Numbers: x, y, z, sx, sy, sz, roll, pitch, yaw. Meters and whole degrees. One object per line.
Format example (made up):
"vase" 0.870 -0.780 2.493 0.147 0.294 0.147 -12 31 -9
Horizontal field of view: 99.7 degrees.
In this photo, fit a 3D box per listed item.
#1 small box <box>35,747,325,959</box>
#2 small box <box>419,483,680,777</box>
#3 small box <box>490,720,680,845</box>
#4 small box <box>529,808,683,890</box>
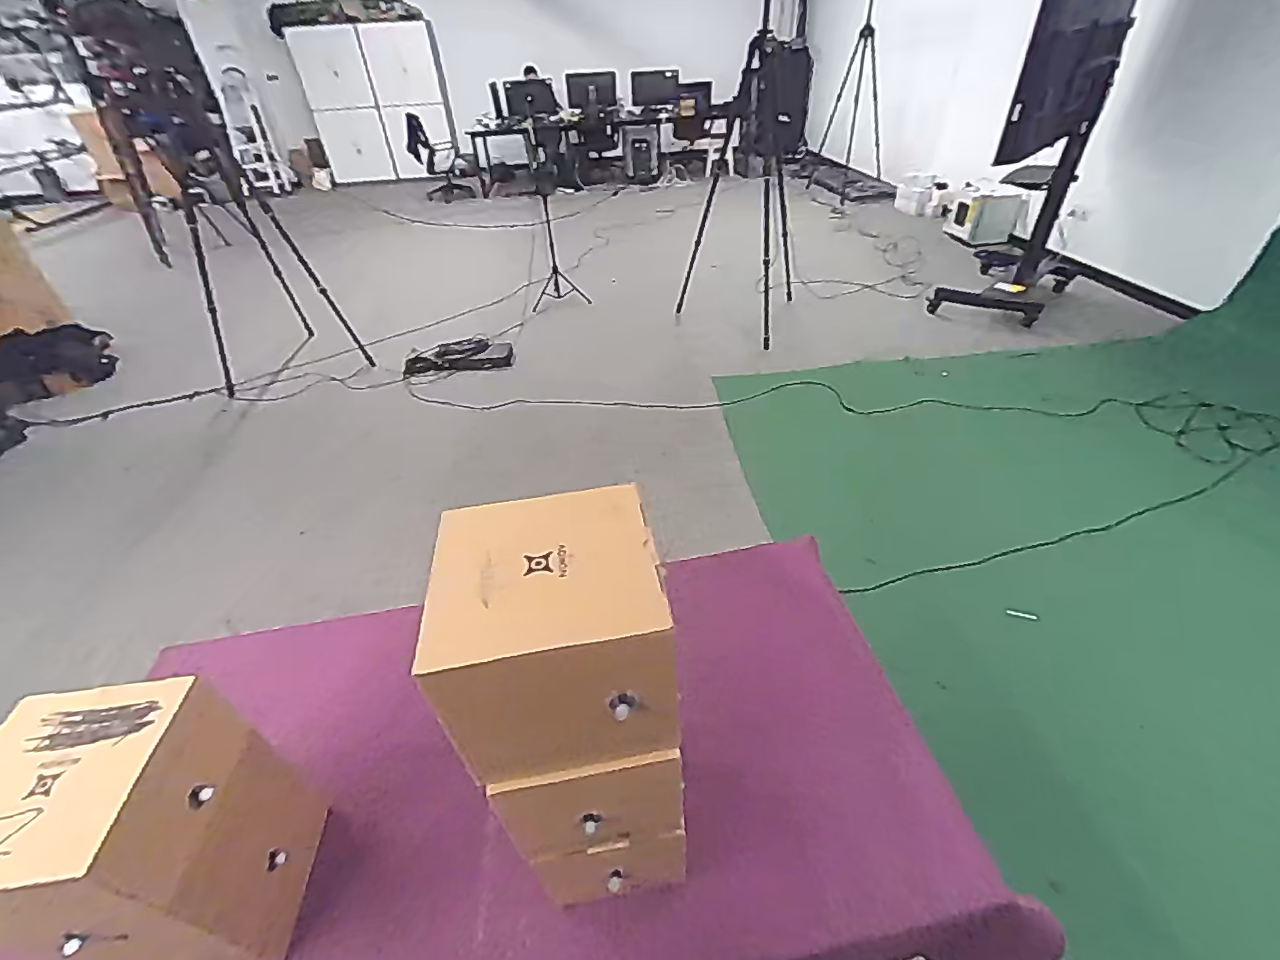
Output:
"small box" -0.502 0.446 0.632 0.168 0.176 0.179 -7 41 -4
"small box" -0.066 0.127 0.469 0.179 0.176 0.168 -9 38 -5
"small box" -0.053 0.256 0.569 0.168 0.176 0.179 -8 39 -5
"small box" -0.041 0.383 0.675 0.168 0.176 0.179 -7 40 -5
